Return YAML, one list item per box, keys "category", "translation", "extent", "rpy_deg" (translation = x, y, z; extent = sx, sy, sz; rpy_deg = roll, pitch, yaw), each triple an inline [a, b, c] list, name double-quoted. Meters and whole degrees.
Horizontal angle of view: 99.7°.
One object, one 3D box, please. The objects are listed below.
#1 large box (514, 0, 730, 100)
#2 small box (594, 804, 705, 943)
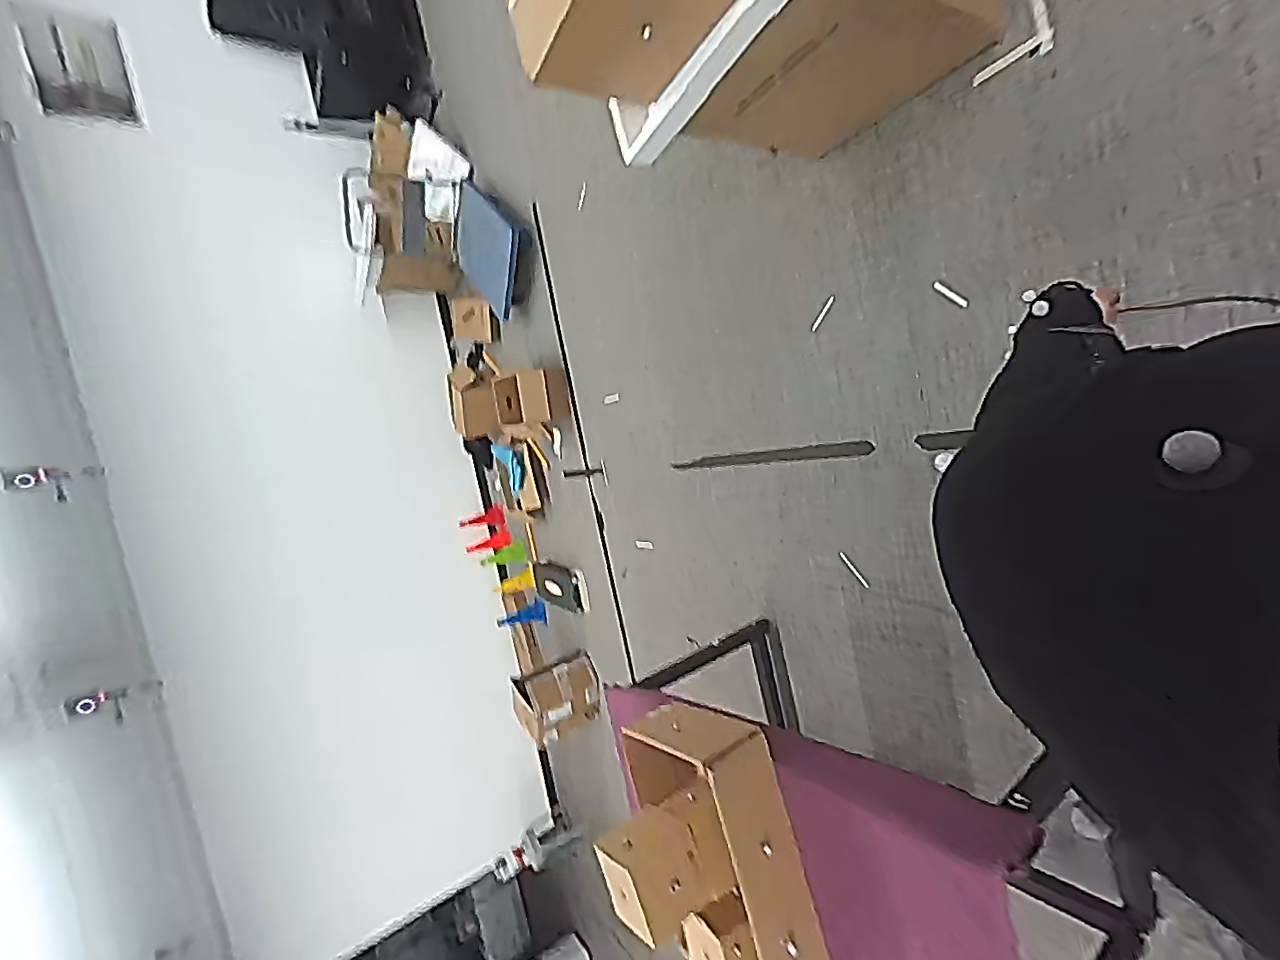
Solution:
- category: "large box"
  translation: [-0.023, -1.013, 1.008]
  extent: [0.408, 0.320, 0.320]
  rpy_deg: [-11, 92, 59]
- category: "small box"
  translation: [0.027, 0.871, 1.221]
  extent: [0.179, 0.176, 0.168]
  rpy_deg: [-26, 81, 58]
